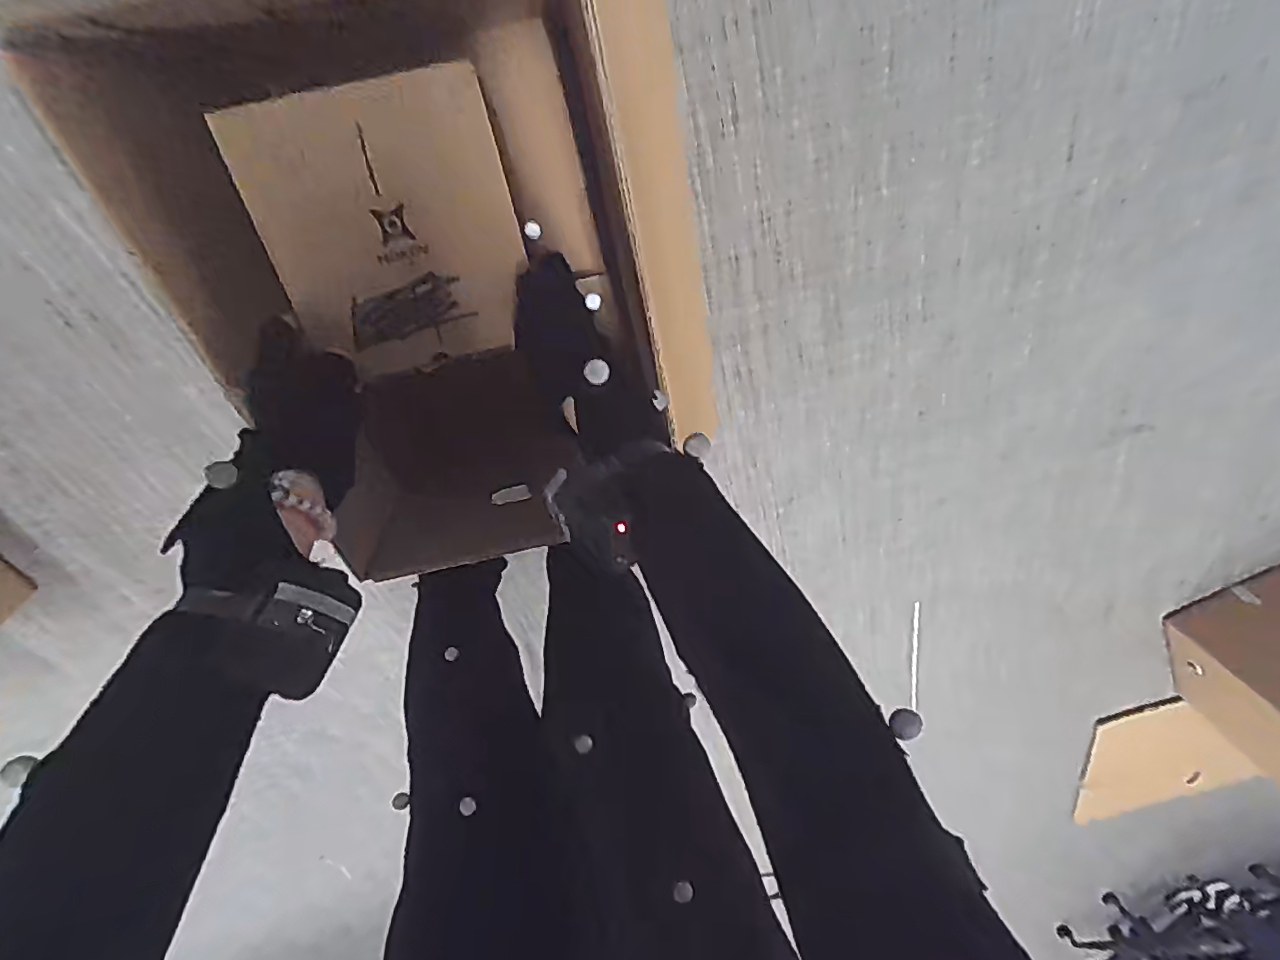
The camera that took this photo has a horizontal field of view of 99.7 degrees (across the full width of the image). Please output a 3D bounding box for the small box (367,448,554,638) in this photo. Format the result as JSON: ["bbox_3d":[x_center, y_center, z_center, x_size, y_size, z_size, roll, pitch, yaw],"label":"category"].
[{"bbox_3d":[-0.261,0.088,0.784,0.179,0.176,0.168,42,115,-7],"label":"small box"}]
